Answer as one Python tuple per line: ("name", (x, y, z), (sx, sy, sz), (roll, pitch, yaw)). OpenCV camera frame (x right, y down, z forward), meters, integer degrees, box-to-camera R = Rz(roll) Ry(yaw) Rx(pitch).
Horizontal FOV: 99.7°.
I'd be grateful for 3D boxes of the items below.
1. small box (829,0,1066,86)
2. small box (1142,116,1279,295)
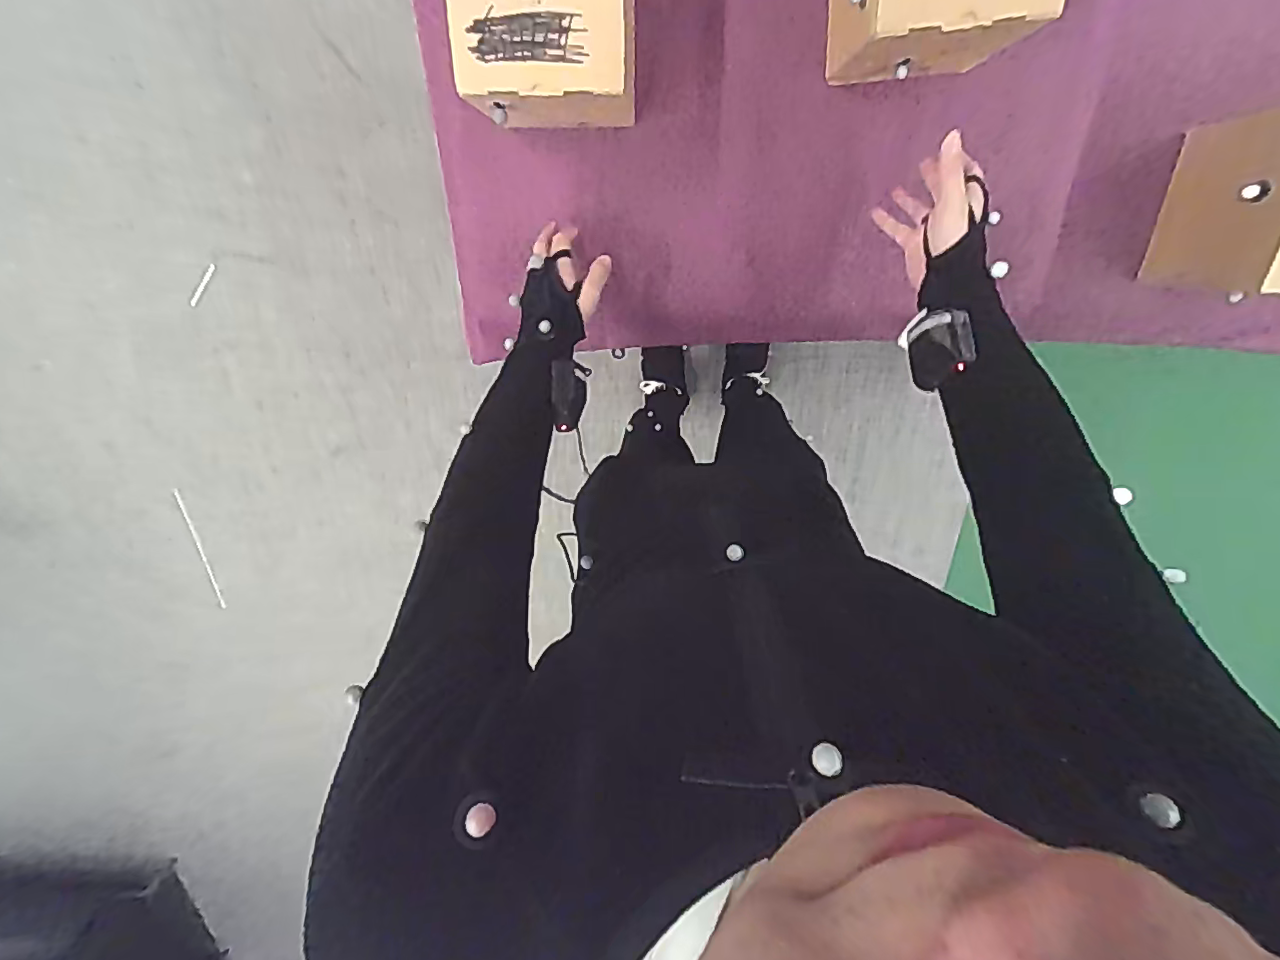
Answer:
("small box", (0.293, -0.518, 0.528), (0.168, 0.176, 0.179), (-4, 115, 4))
("small box", (0.727, -0.302, 0.601), (0.168, 0.176, 0.179), (2, 114, 3))
